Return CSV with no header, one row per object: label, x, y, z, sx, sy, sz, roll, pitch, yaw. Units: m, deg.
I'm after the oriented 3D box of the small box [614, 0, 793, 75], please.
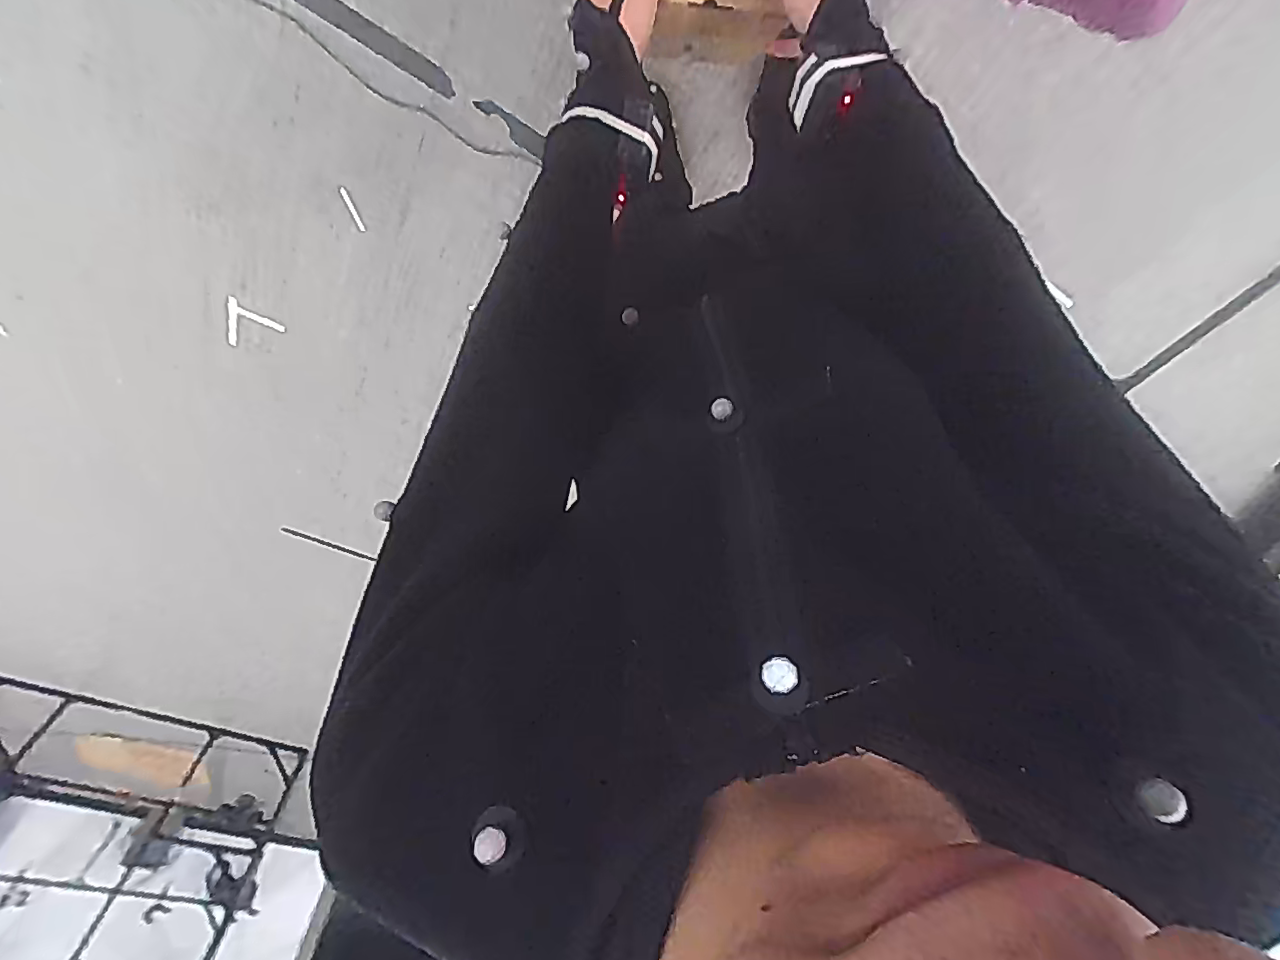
small box,0.061,-0.545,0.548,0.168,0.176,0.179,1,115,-6
